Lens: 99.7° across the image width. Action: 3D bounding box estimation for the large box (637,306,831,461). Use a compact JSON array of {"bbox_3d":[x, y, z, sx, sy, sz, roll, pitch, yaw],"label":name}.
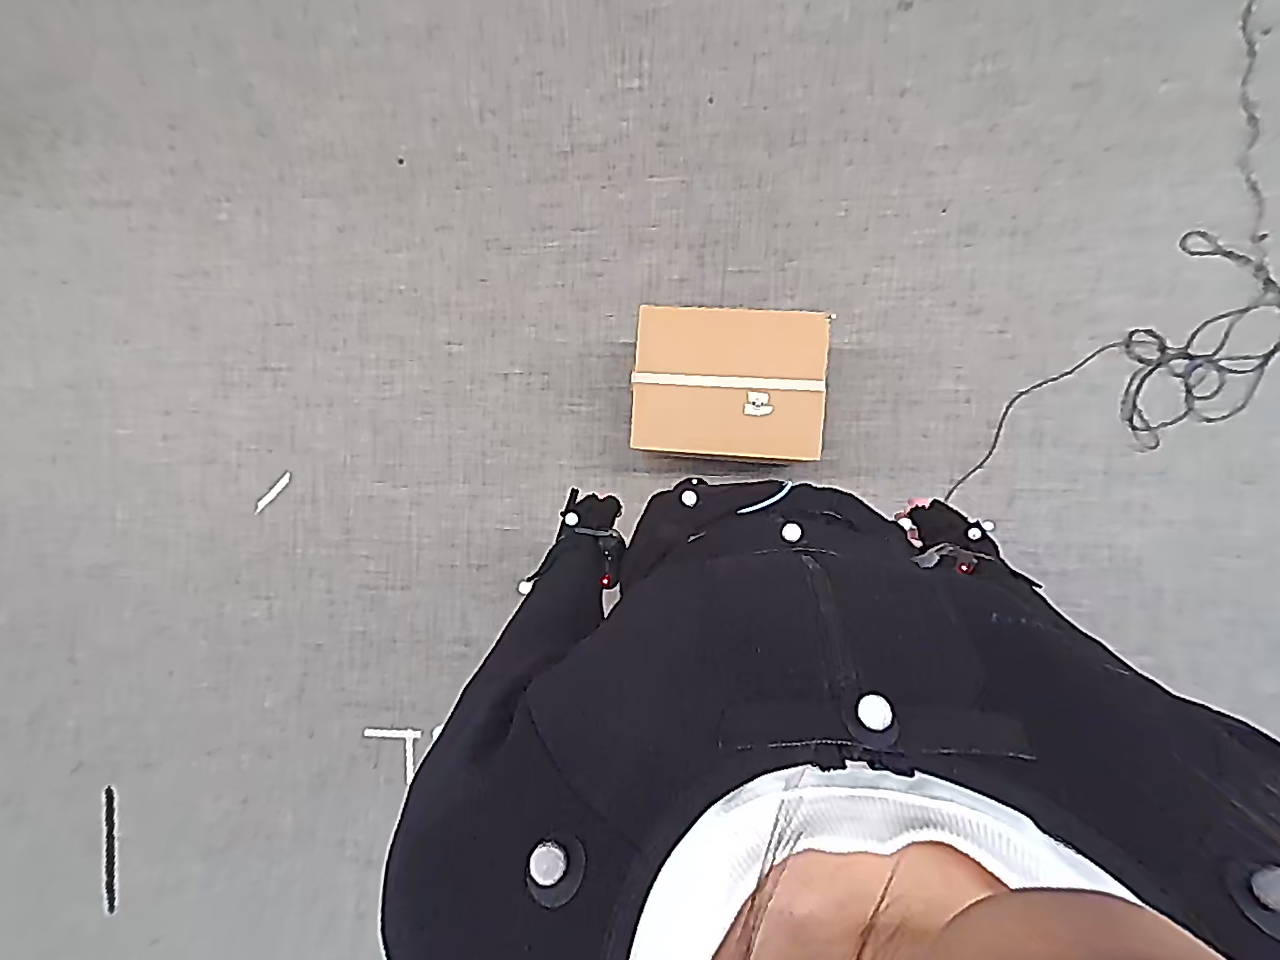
[{"bbox_3d":[0.211,-0.214,1.302,0.408,0.320,0.320,4,91,6],"label":"large box"}]
